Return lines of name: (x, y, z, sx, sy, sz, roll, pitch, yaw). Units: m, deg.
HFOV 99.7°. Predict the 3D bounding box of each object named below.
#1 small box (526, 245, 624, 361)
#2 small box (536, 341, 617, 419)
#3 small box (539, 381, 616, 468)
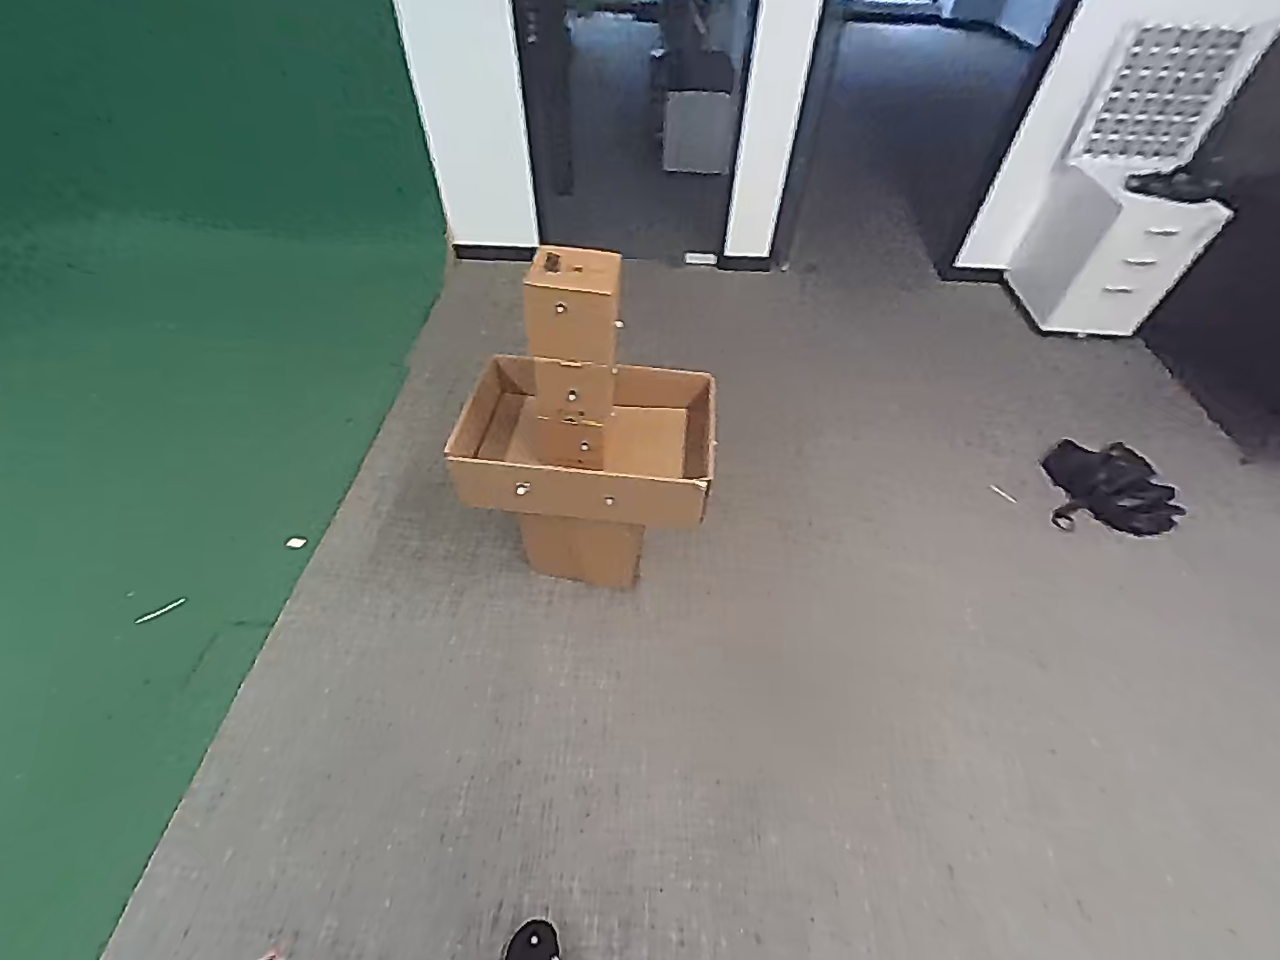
small box: (-0.133, -0.375, 1.154, 0.179, 0.176, 0.168, 7, 49, 0)
small box: (-0.142, -0.264, 1.277, 0.168, 0.176, 0.179, 5, 50, -1)
small box: (-0.157, -0.152, 1.396, 0.168, 0.176, 0.179, 8, 48, 0)
